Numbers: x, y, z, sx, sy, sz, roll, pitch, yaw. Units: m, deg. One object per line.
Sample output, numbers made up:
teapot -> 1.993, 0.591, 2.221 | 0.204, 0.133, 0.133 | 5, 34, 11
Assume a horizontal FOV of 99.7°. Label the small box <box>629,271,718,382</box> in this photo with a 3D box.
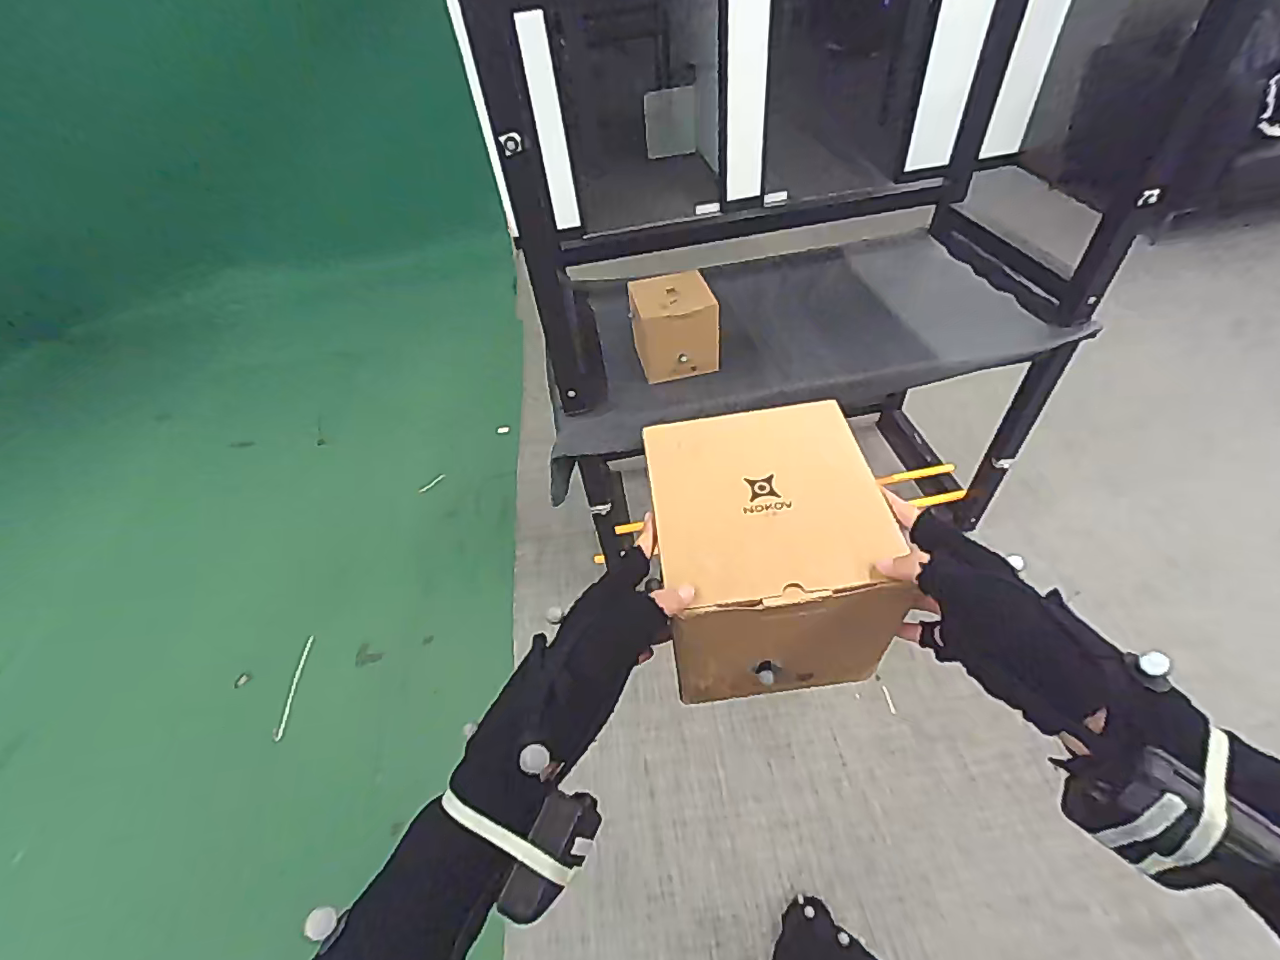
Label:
small box -> 0.075, -0.350, 1.237 | 0.168, 0.176, 0.179 | -12, 46, -3
